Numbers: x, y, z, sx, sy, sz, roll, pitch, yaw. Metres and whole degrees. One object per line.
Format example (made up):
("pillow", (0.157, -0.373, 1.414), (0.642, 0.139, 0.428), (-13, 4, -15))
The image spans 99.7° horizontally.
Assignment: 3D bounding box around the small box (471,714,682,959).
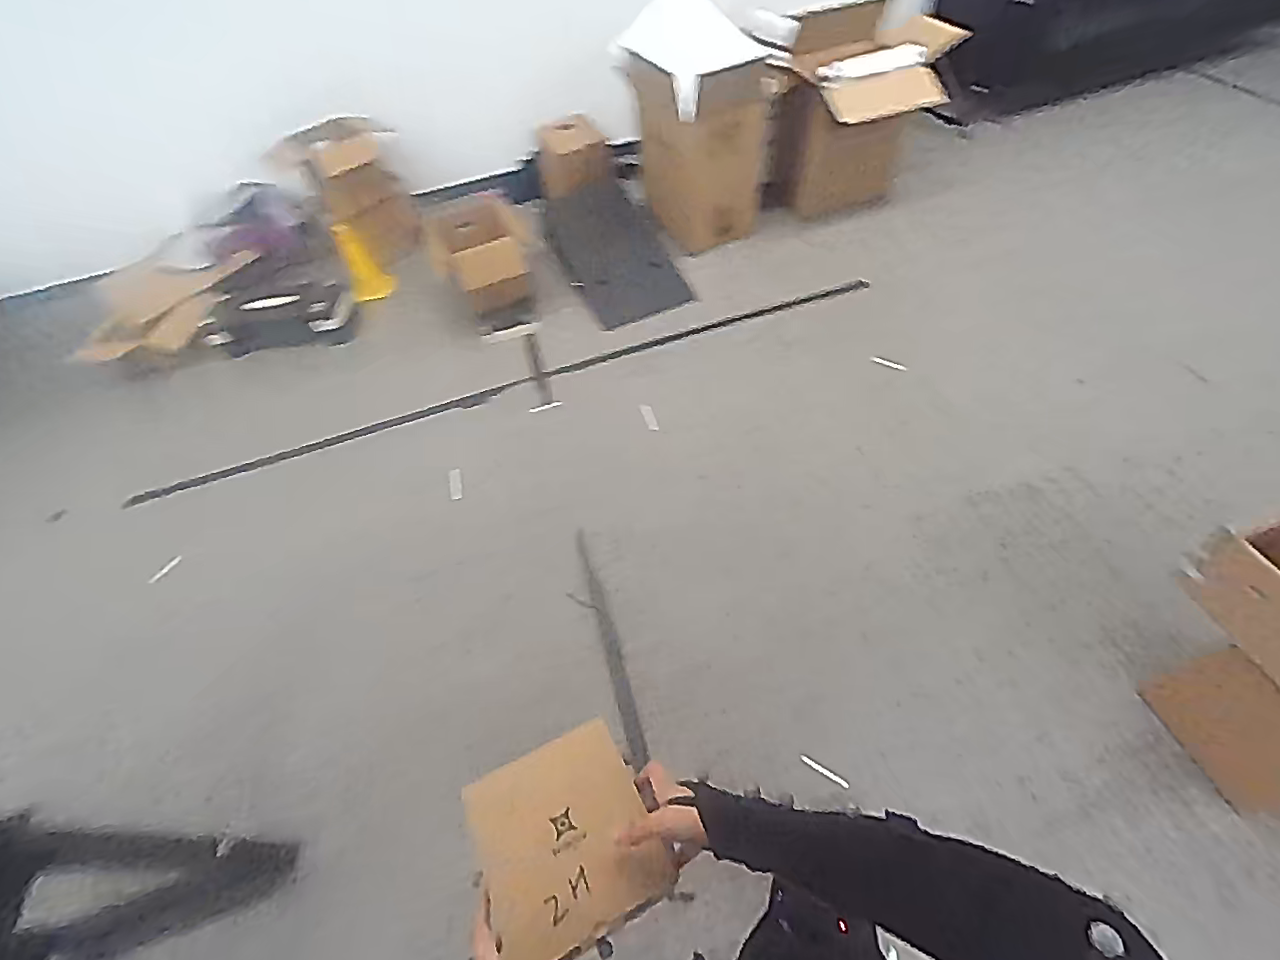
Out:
("small box", (-0.076, 0.400, 0.598), (0.168, 0.176, 0.179), (-18, 54, -20))
